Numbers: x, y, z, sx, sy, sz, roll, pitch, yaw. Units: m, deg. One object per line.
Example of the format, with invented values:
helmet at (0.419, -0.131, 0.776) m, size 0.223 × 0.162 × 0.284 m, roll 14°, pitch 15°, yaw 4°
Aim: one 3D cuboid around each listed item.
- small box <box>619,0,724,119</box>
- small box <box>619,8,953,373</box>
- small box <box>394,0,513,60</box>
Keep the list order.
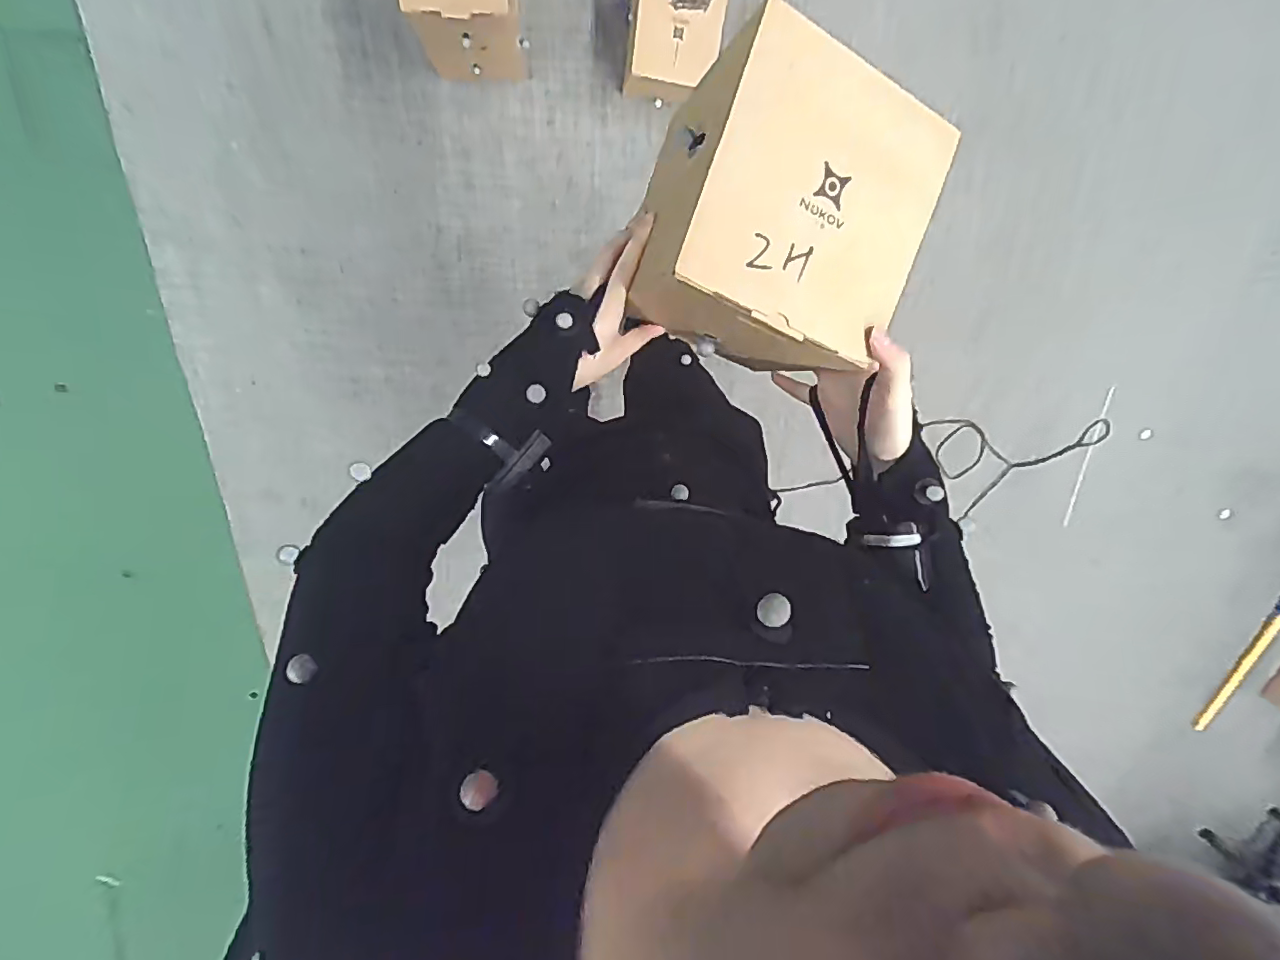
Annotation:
small box at (0.054, -0.863, 1.091) m, size 0.168 × 0.176 × 0.179 m, roll 5°, pitch 112°, yaw -11°
small box at (0.098, -0.196, 0.433) m, size 0.168 × 0.176 × 0.179 m, roll 18°, pitch 94°, yaw -20°
small box at (-0.301, -0.812, 0.877) m, size 0.168 × 0.176 × 0.179 m, roll -3°, pitch 113°, yaw -7°
